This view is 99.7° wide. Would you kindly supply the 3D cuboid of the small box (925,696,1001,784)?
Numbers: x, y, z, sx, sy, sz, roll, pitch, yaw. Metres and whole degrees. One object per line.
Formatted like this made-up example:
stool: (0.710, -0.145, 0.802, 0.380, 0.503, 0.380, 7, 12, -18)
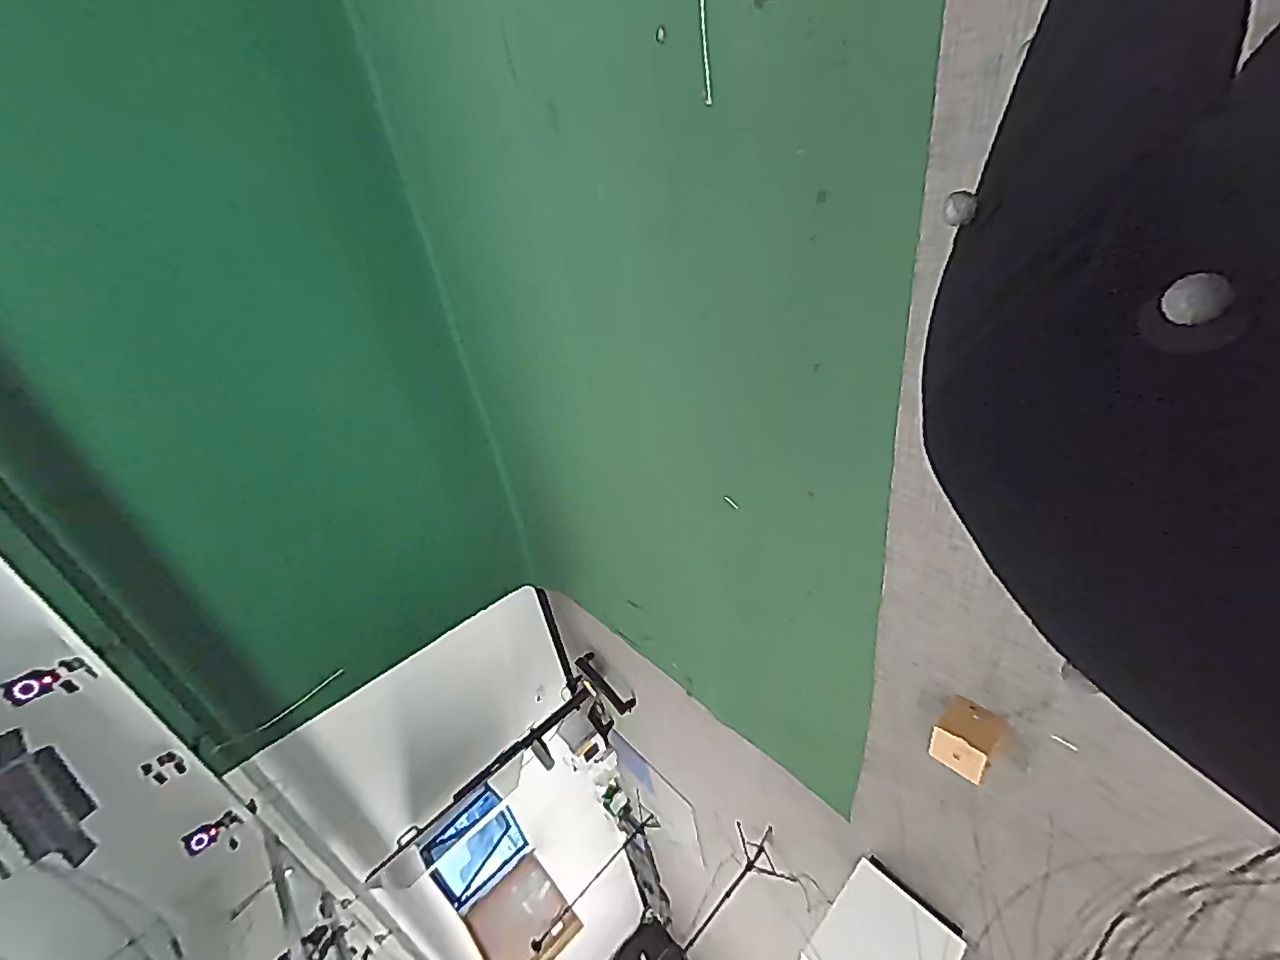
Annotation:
small box: (1.119, 0.895, 1.874, 0.168, 0.176, 0.179, 25, 134, 43)
